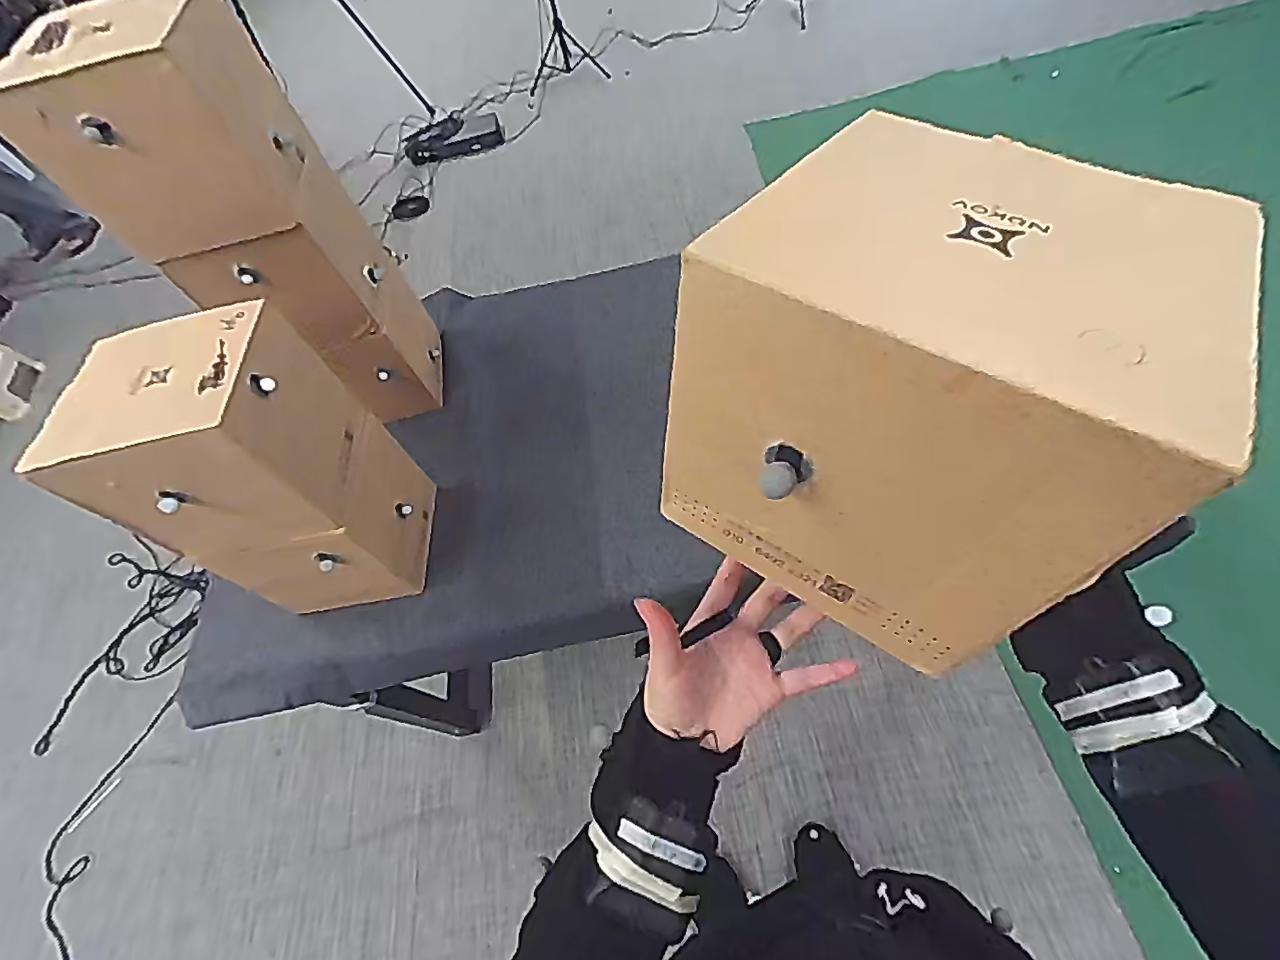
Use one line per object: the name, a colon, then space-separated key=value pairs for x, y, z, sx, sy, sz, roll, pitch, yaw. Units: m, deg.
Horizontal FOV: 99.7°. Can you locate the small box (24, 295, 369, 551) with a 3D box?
small box: x=-0.408 y=-0.047 z=0.538 sx=0.179 sy=0.176 sz=0.168 roll=-14 pitch=56 yaw=3

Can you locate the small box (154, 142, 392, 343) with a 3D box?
small box: x=-0.449 y=-0.287 z=0.694 sx=0.179 sy=0.176 sz=0.168 roll=-14 pitch=60 yaw=1

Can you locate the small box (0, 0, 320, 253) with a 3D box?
small box: x=-0.469 y=-0.360 z=0.548 sx=0.179 sy=0.176 sz=0.168 roll=-13 pitch=60 yaw=2

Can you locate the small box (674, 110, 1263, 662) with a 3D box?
small box: x=0.129 y=-0.044 z=0.264 sx=0.168 sy=0.176 sz=0.179 roll=30 pitch=57 yaw=20

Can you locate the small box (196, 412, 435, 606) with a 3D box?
small box: x=-0.377 y=0.043 z=0.671 sx=0.179 sy=0.176 sz=0.168 roll=-10 pitch=56 yaw=5
